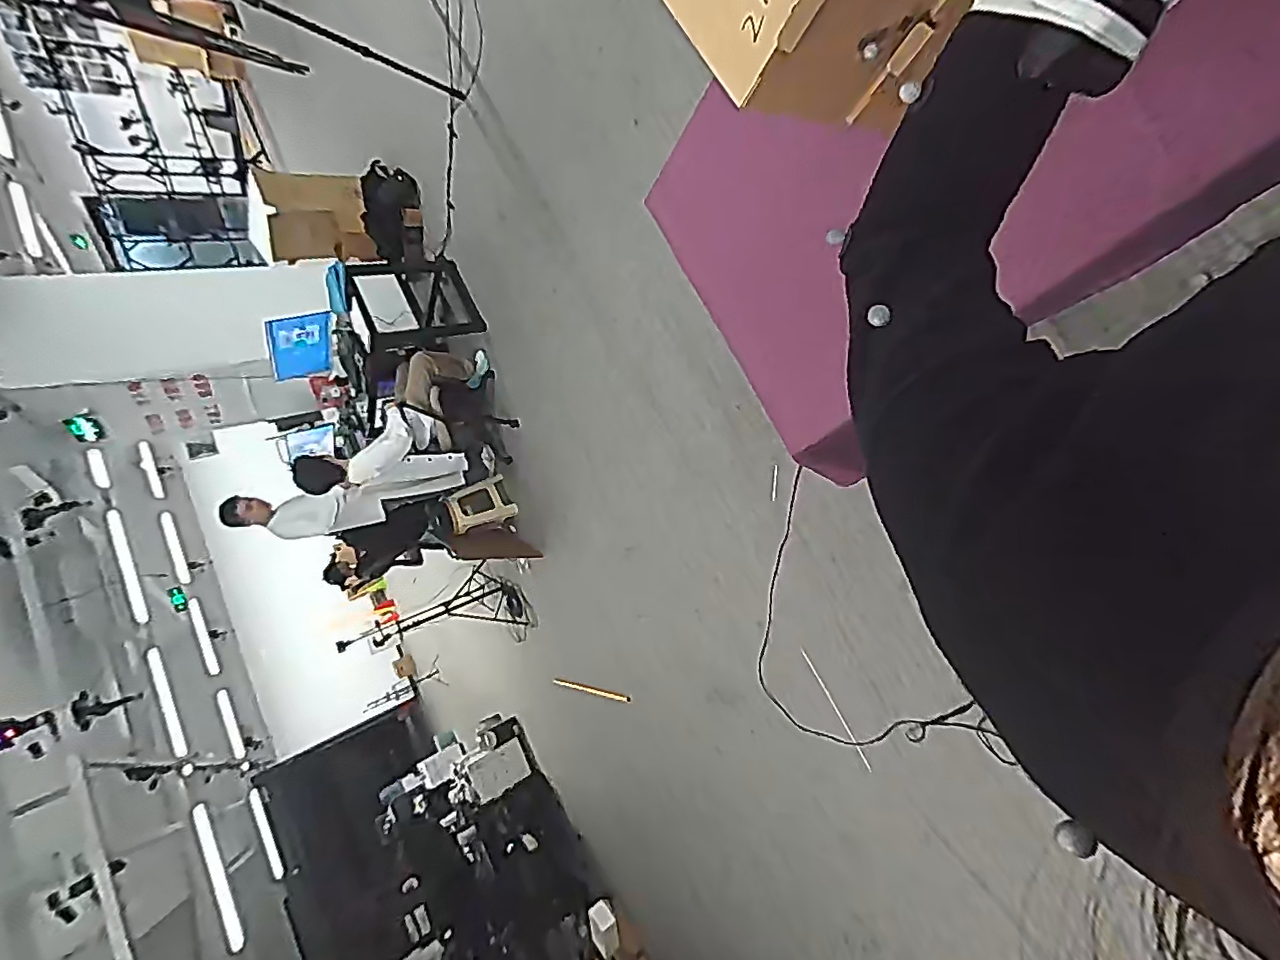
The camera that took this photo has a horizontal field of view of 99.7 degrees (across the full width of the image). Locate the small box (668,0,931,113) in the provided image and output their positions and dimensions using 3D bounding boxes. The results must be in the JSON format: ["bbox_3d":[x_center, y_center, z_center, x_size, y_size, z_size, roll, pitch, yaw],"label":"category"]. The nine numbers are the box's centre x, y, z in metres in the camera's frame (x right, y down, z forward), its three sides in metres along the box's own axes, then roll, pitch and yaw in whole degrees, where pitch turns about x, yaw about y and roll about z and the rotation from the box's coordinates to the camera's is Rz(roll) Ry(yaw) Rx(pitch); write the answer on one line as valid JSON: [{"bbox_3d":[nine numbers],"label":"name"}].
[{"bbox_3d":[0.154,-0.492,0.521,0.179,0.176,0.168,62,145,12],"label":"small box"}]

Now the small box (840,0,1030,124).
[{"bbox_3d":[0.291,-0.533,0.604,0.179,0.176,0.168,63,144,12],"label":"small box"}]
